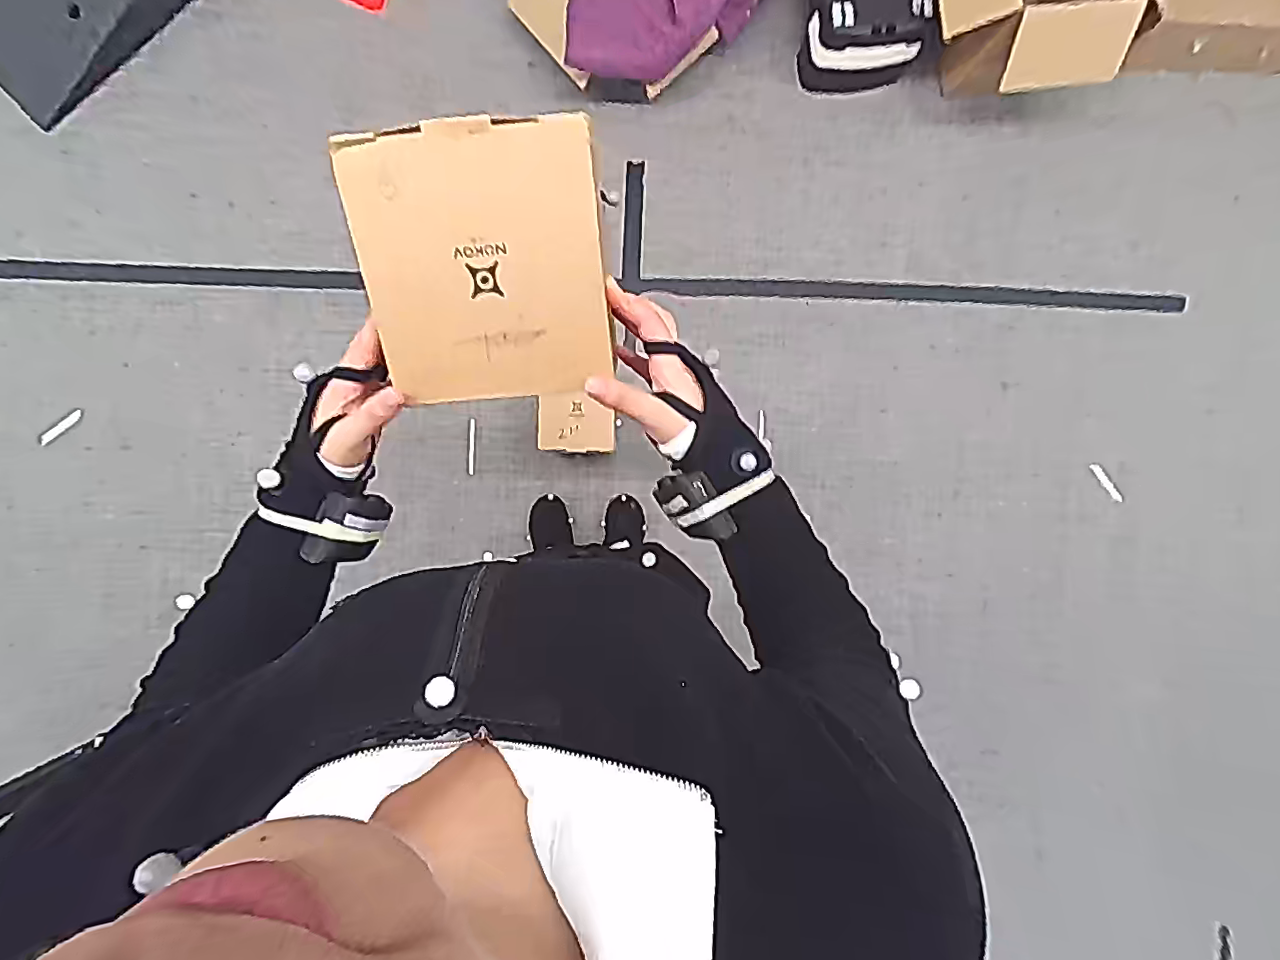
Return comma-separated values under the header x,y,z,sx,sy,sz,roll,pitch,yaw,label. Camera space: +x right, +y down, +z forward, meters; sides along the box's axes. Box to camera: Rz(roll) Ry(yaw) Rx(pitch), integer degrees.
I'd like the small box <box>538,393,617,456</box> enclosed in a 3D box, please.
x,y,z,sx,sy,sz,roll,pitch,yaw,label
-0.138,-0.148,1.241,0.168,0.176,0.179,2,91,-2,small box

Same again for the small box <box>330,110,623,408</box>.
x,y,z,sx,sy,sz,roll,pitch,yaw,label
-0.103,-0.170,0.430,0.168,0.176,0.179,-4,116,1,small box
